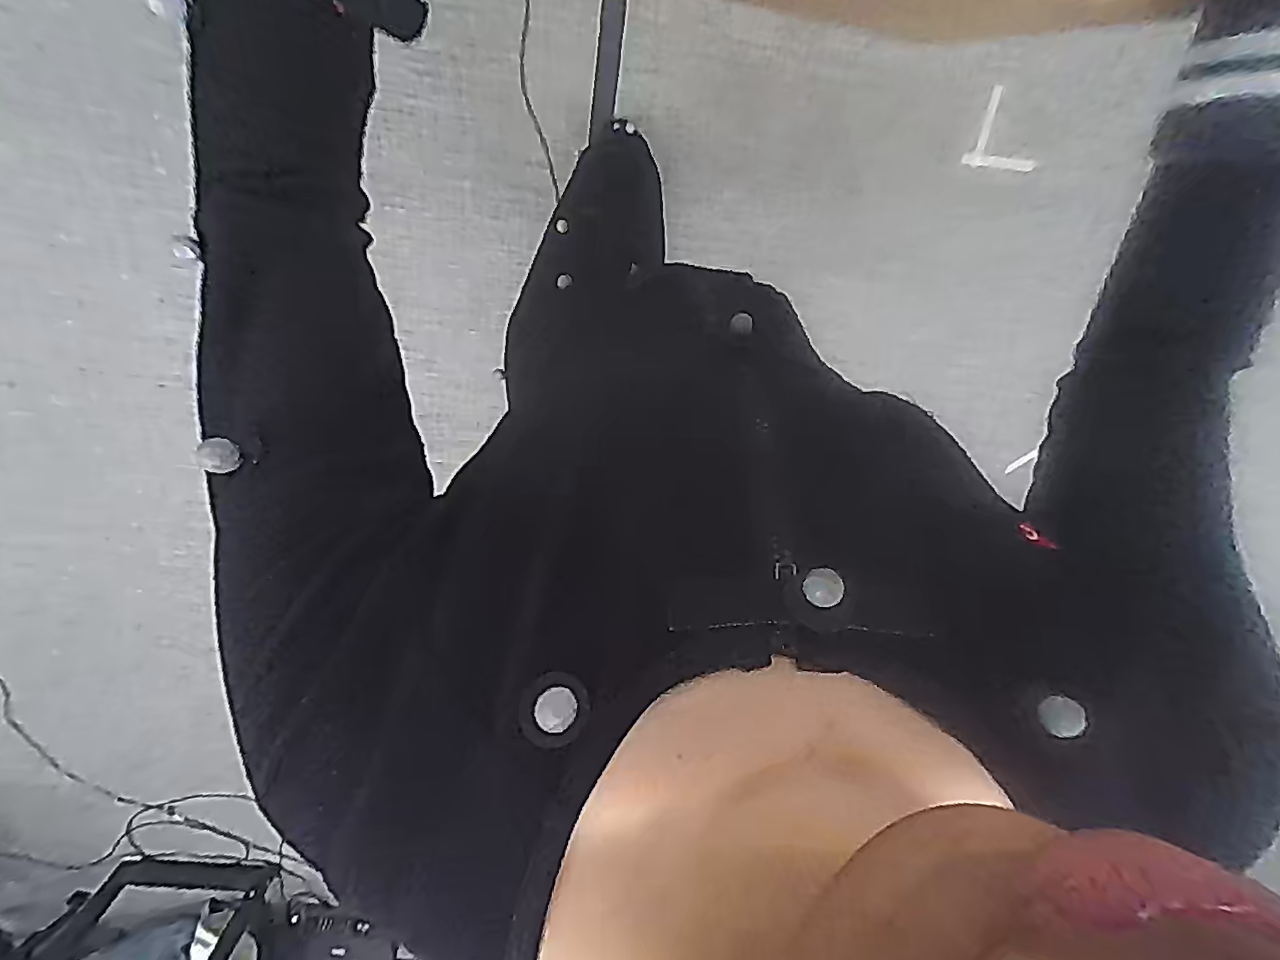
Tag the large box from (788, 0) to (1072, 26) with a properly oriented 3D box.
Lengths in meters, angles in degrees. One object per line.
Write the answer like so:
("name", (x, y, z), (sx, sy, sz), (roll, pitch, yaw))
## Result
("large box", (0.126, -0.503, 0.311), (0.408, 0.320, 0.320), (4, 127, -8))
